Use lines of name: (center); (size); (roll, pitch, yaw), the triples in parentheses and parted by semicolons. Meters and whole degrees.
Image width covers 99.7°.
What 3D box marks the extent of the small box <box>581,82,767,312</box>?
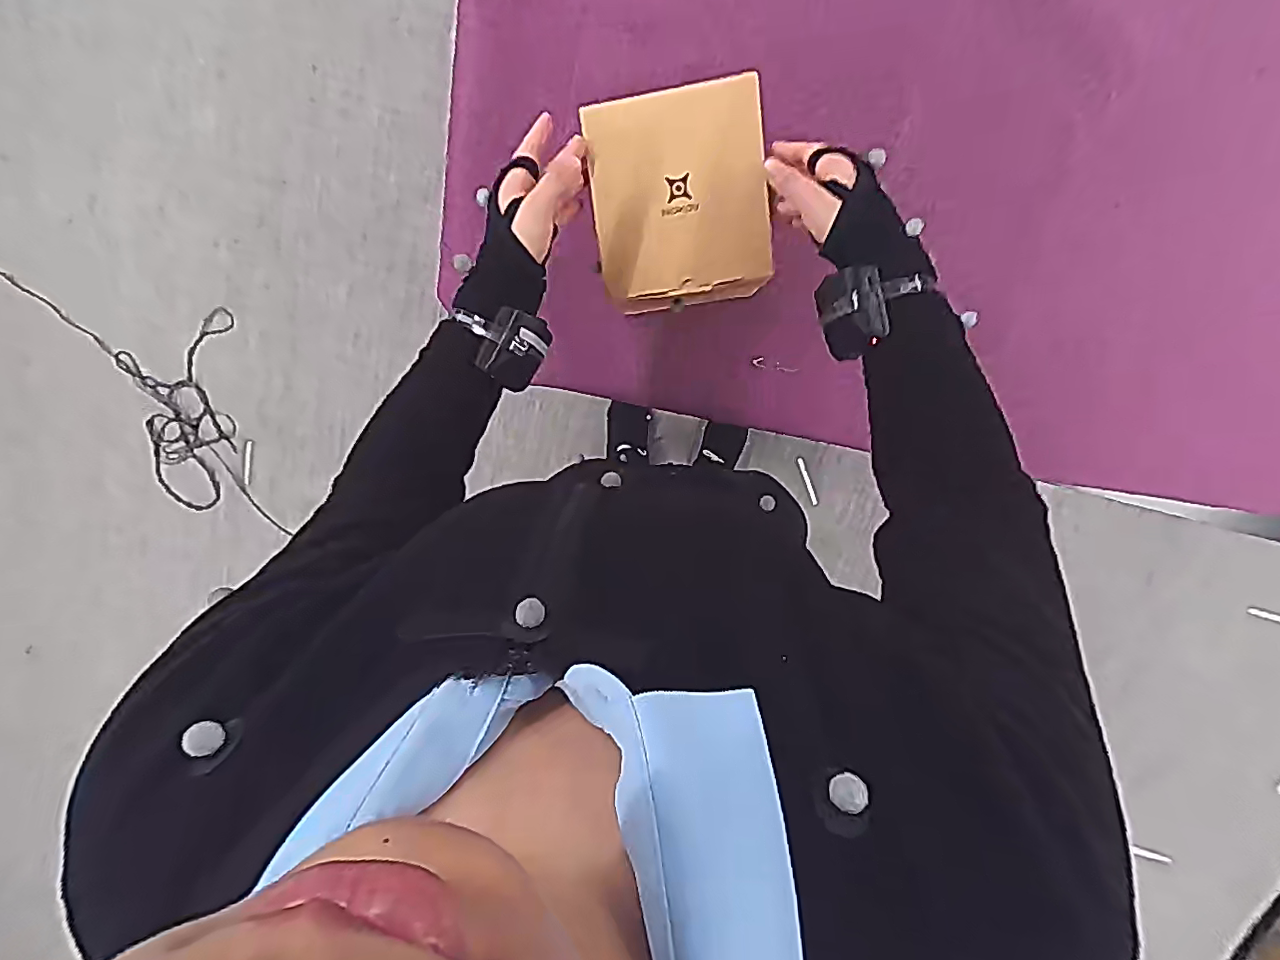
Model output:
small box: (0.039, -0.285, 0.585); (0.168, 0.176, 0.179); (-5, 105, 6)
